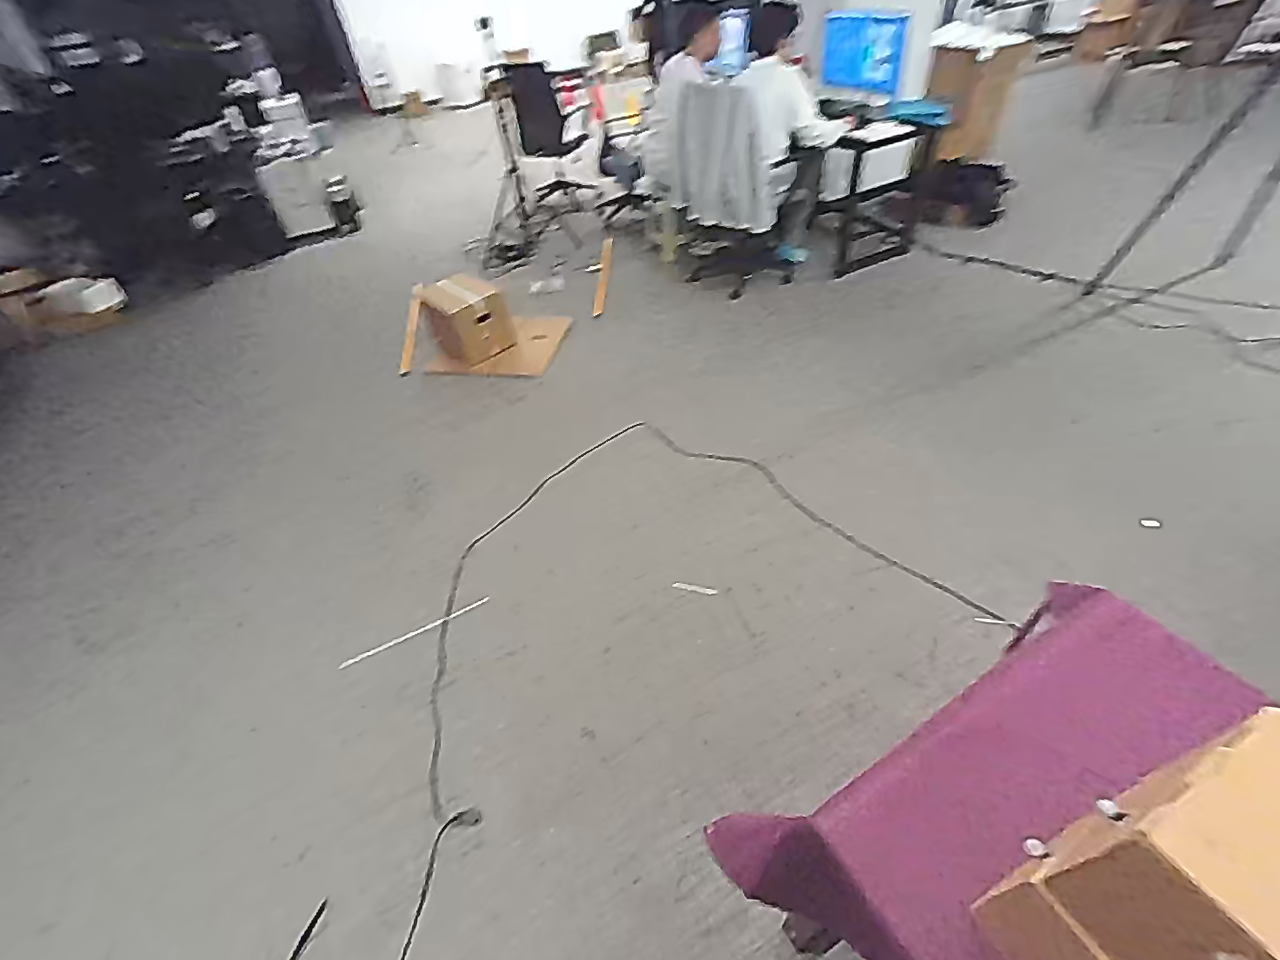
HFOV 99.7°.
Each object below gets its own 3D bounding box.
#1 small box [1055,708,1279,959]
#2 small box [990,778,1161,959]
[{"bbox_3d":[0.448,0.304,0.375,0.168,0.176,0.179,-25,47,-15],"label":"small box"},{"bbox_3d":[0.460,0.418,0.492,0.179,0.176,0.168,-22,46,-15],"label":"small box"}]
